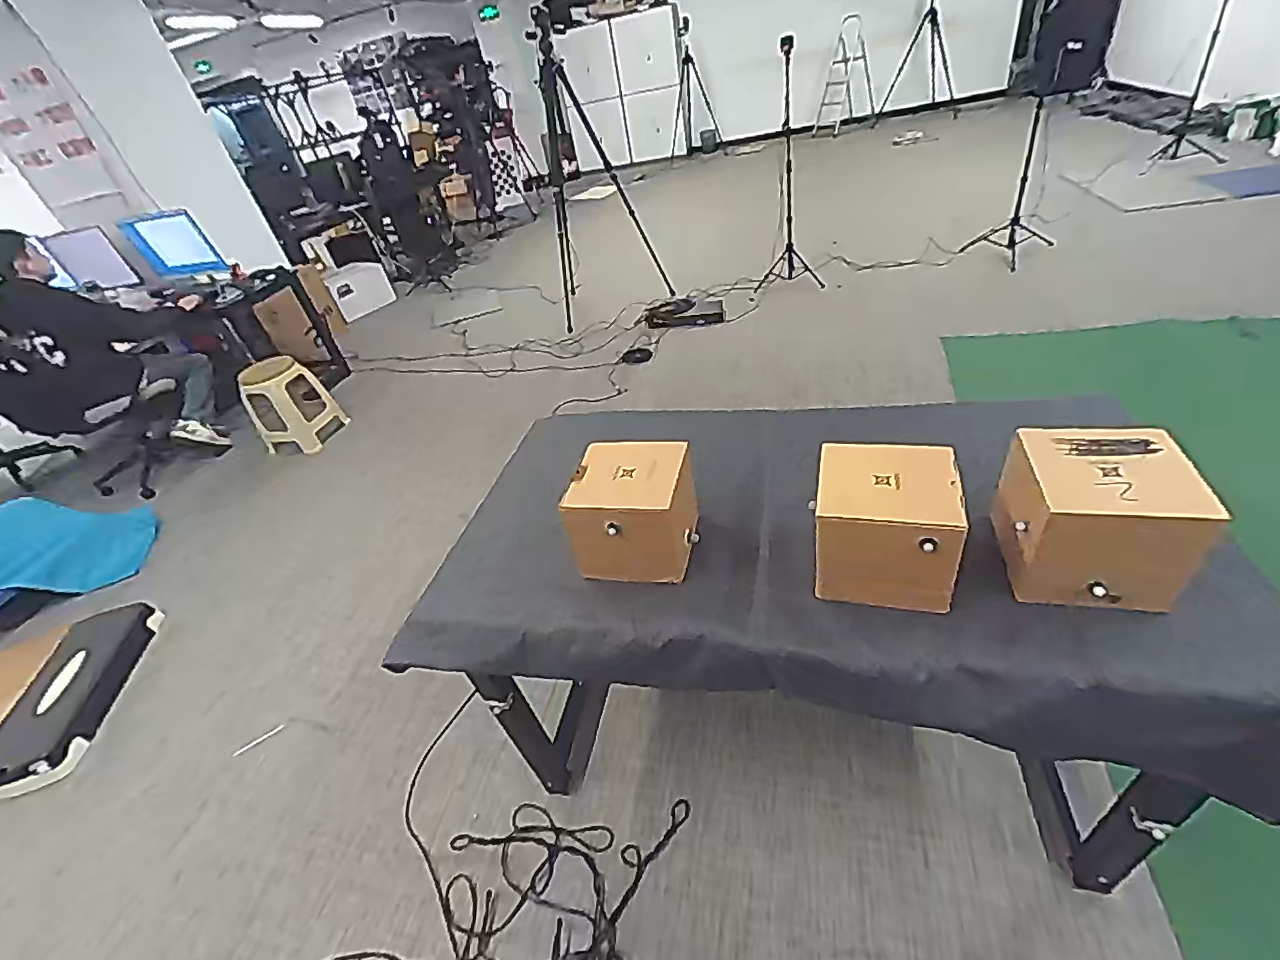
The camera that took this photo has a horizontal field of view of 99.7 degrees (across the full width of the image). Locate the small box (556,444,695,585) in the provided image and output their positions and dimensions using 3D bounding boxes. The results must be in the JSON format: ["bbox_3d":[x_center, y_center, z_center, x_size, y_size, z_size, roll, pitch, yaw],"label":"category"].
[{"bbox_3d":[-0.013,0.056,0.892,0.179,0.176,0.168,1,40,16],"label":"small box"}]

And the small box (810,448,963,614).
[{"bbox_3d":[0.340,0.071,0.772,0.179,0.176,0.168,4,39,20],"label":"small box"}]
